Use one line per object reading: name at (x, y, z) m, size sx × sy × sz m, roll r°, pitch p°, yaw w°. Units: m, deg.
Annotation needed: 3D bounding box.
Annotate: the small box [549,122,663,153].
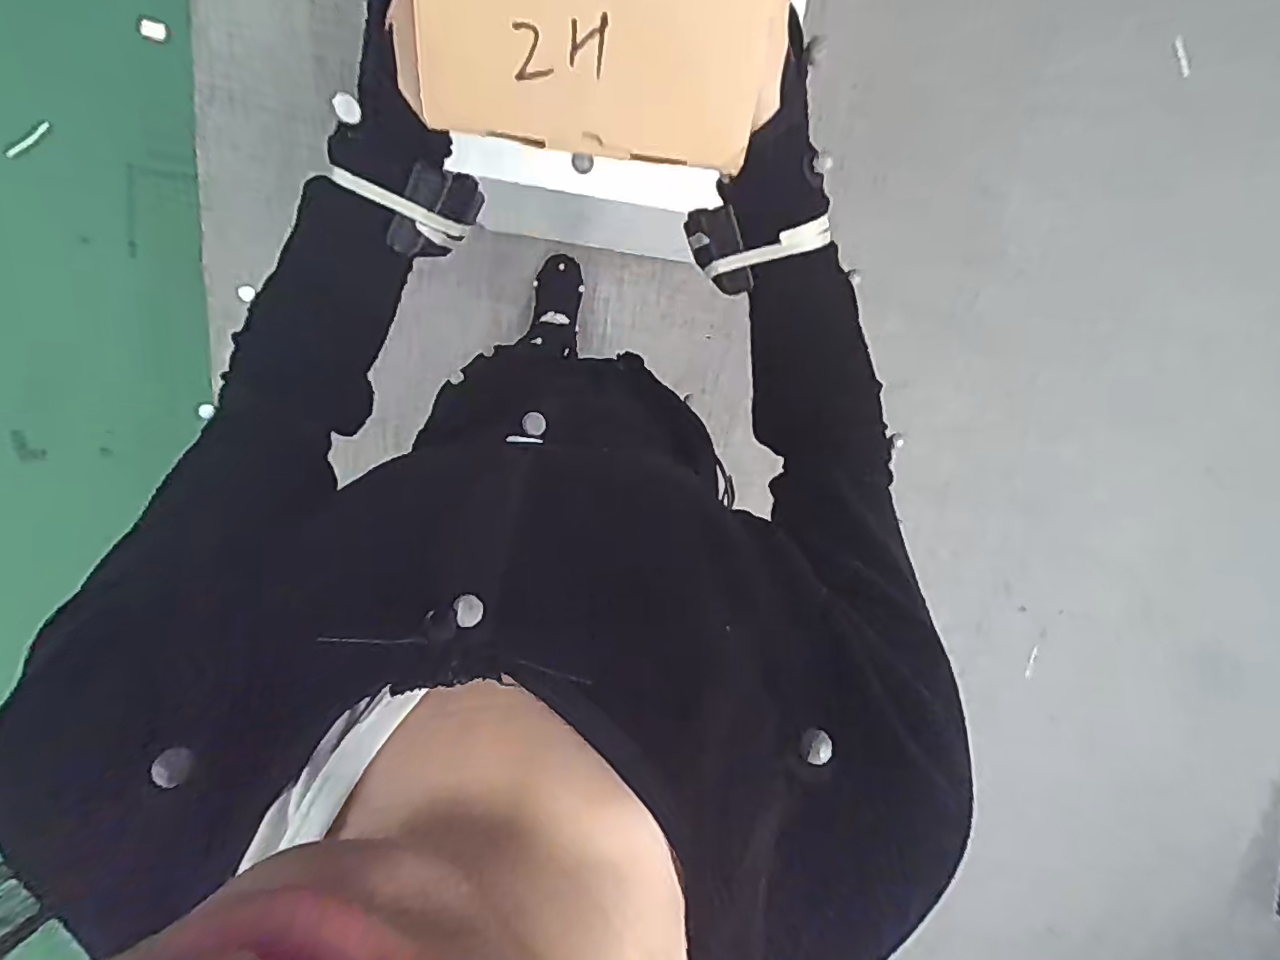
small box at (-0.031, -0.530, 0.652) m, size 0.168 × 0.176 × 0.179 m, roll 6°, pitch 104°, yaw -7°
